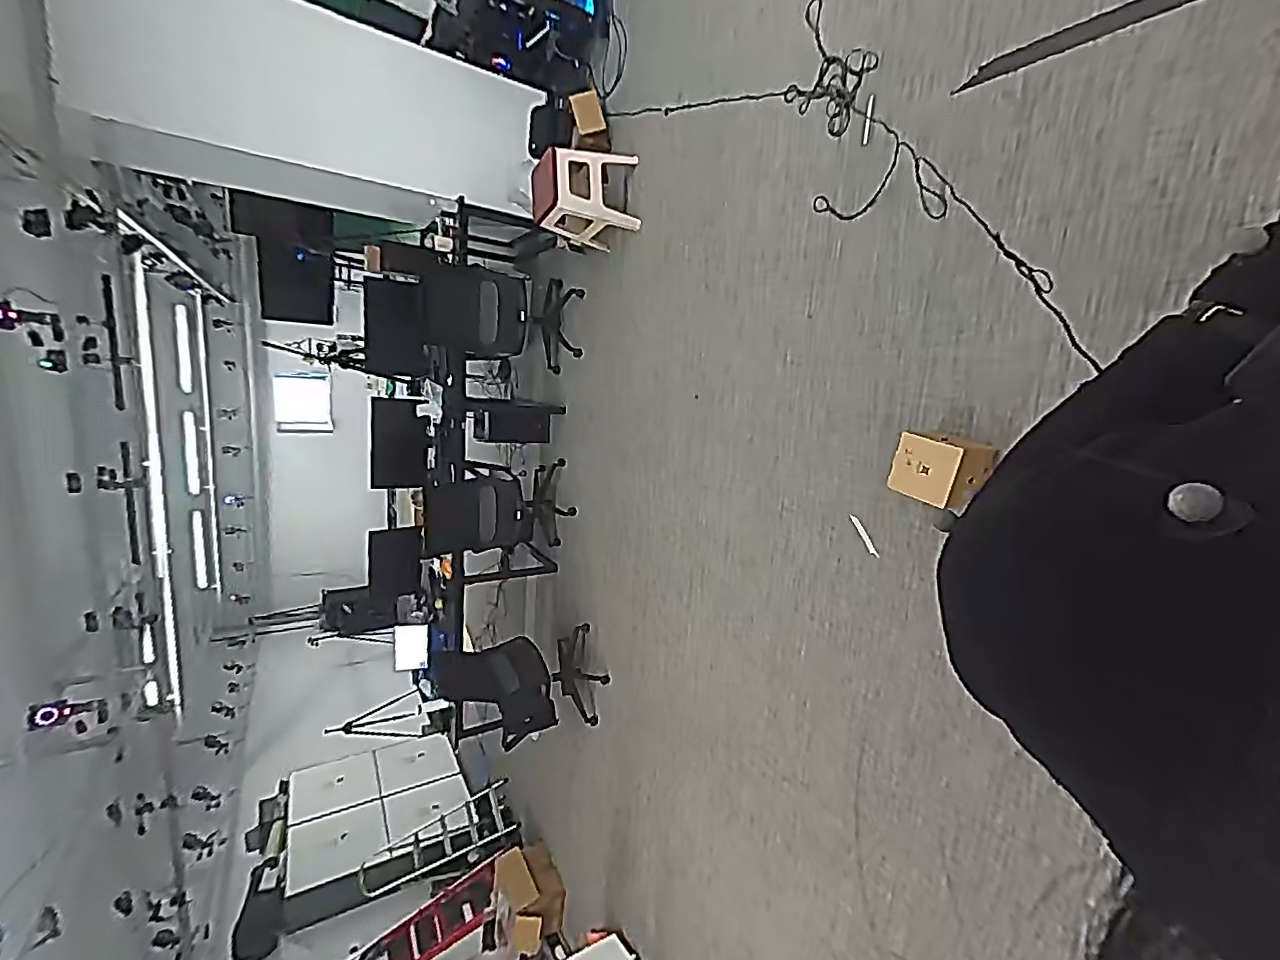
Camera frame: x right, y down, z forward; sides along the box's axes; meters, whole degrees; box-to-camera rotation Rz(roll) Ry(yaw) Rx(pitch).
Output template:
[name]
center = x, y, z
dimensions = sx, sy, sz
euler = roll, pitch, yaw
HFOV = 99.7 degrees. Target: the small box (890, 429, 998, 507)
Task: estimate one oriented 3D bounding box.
[small box]
center = 0.827, -0.040, 1.470
dimensions = 0.179, 0.176, 0.168
euler = 35, 121, 53
